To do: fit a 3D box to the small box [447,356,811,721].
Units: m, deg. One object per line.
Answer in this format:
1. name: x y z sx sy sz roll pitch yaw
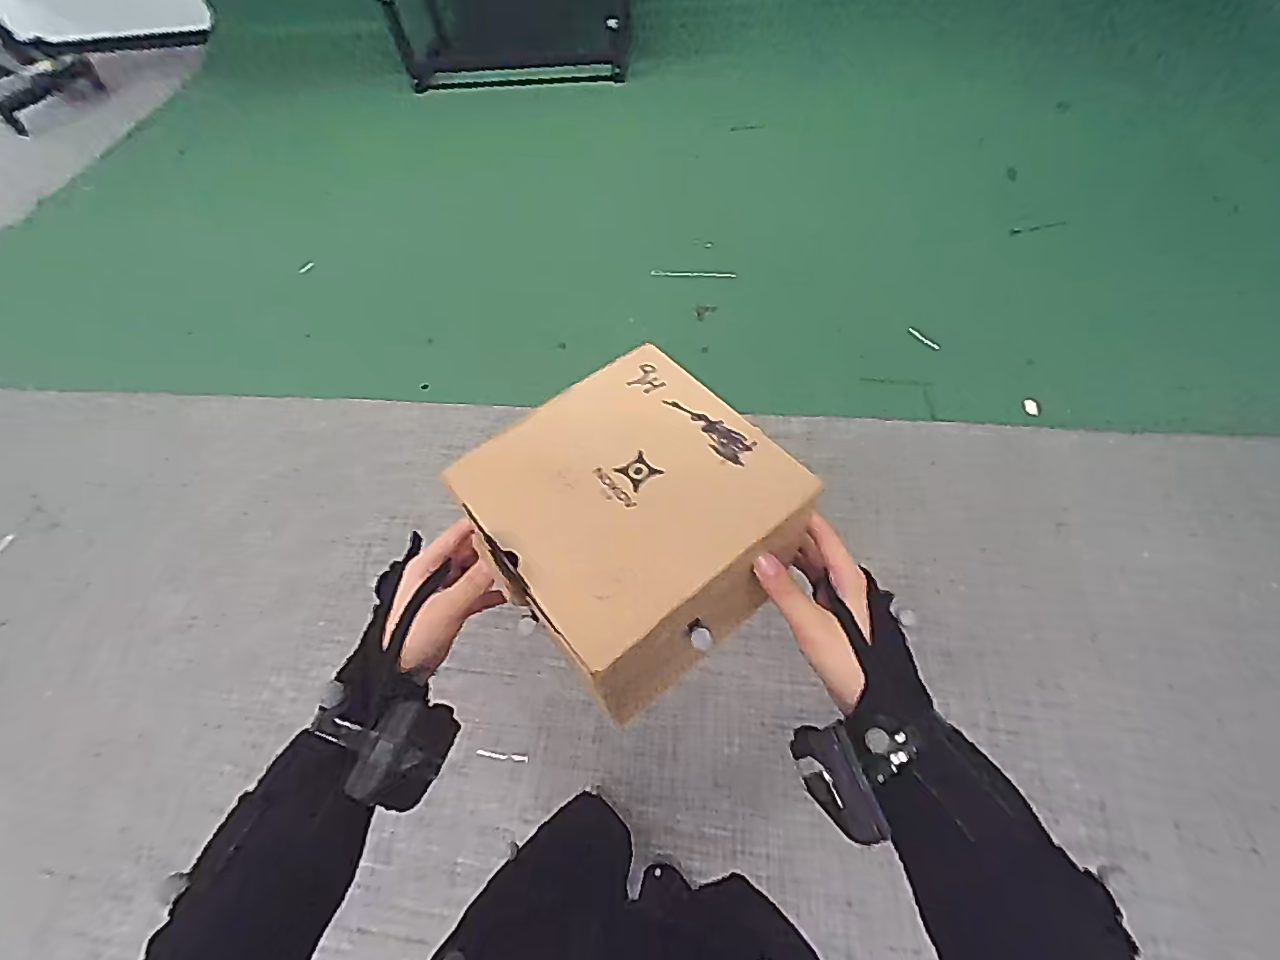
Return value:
1. small box: -0.004 0.050 0.404 0.179 0.176 0.168 -36 61 -18
